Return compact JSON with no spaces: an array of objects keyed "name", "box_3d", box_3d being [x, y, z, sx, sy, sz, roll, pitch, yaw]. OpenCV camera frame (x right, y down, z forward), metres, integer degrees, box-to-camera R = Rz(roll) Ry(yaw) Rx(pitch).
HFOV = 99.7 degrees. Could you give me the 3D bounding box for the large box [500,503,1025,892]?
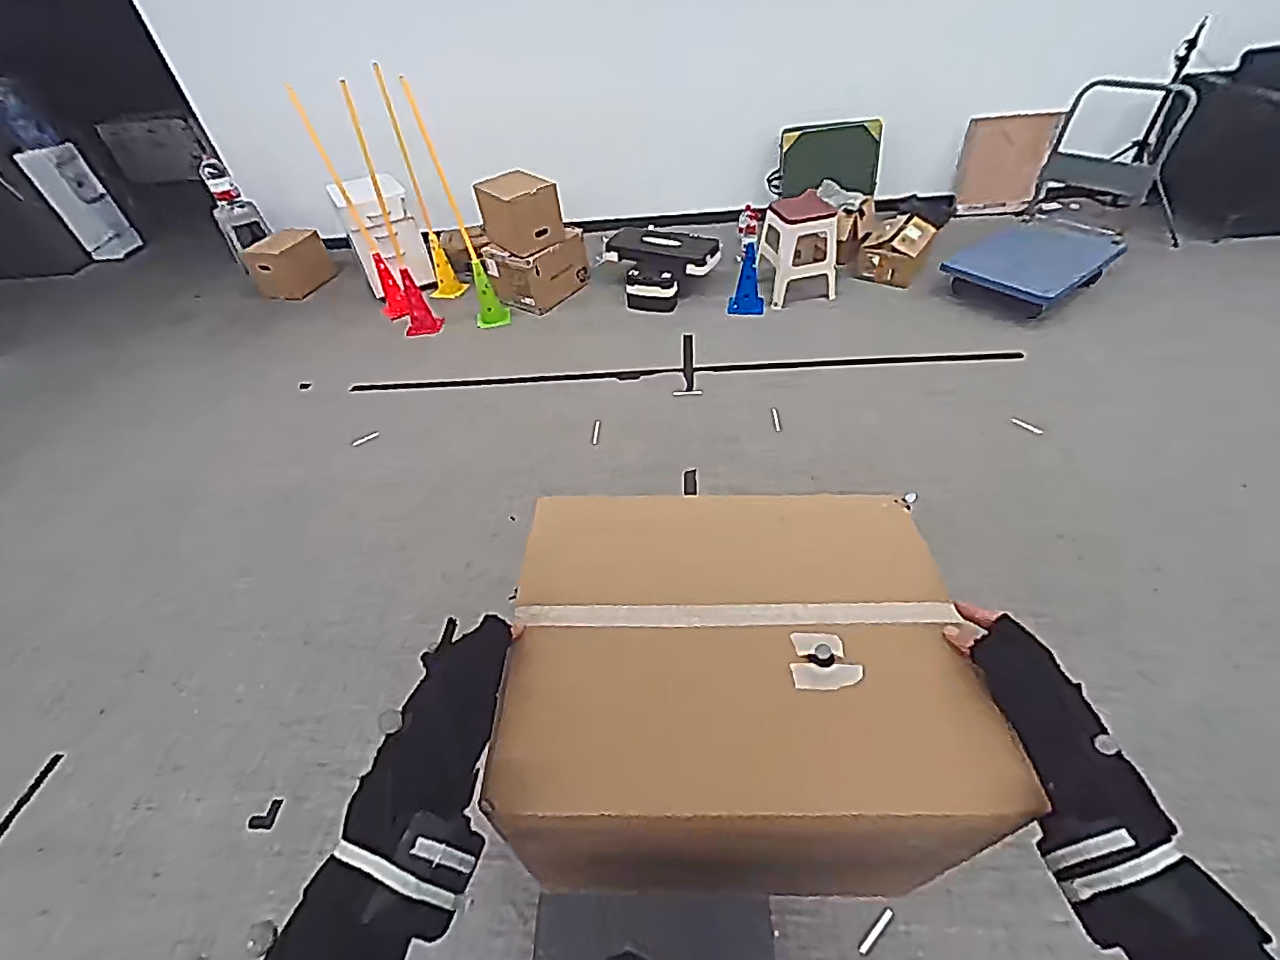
[{"name":"large box","box_3d":[0.090,0.242,0.610,0.408,0.320,0.320,0,44,0]}]
